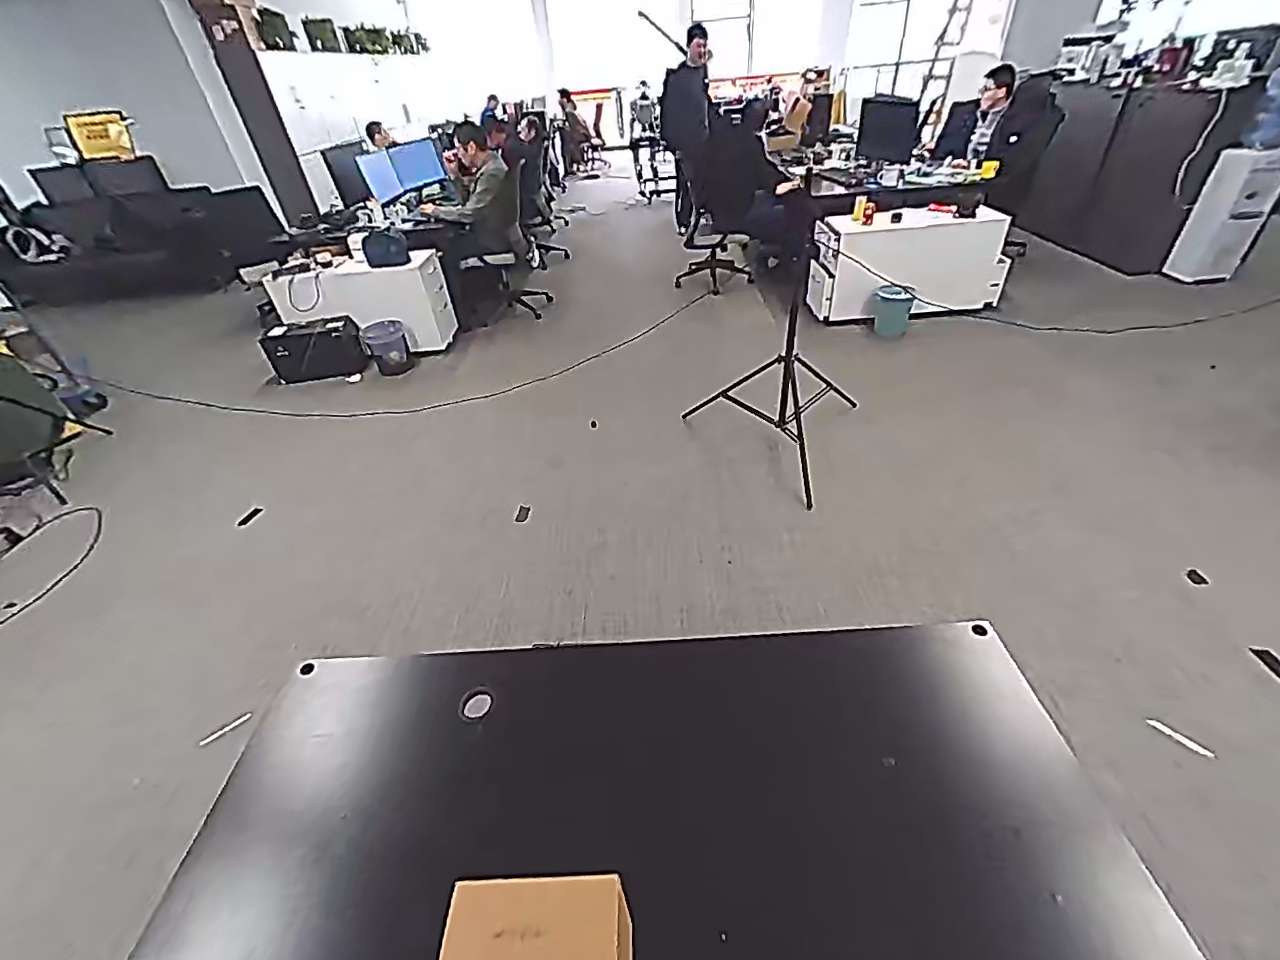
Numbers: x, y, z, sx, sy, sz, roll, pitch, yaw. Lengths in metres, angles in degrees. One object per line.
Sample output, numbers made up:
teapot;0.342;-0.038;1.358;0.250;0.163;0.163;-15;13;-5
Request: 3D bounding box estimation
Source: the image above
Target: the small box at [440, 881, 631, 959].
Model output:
small box;-0.094;0.511;0.509;0.168;0.176;0.179;-3;37;1
